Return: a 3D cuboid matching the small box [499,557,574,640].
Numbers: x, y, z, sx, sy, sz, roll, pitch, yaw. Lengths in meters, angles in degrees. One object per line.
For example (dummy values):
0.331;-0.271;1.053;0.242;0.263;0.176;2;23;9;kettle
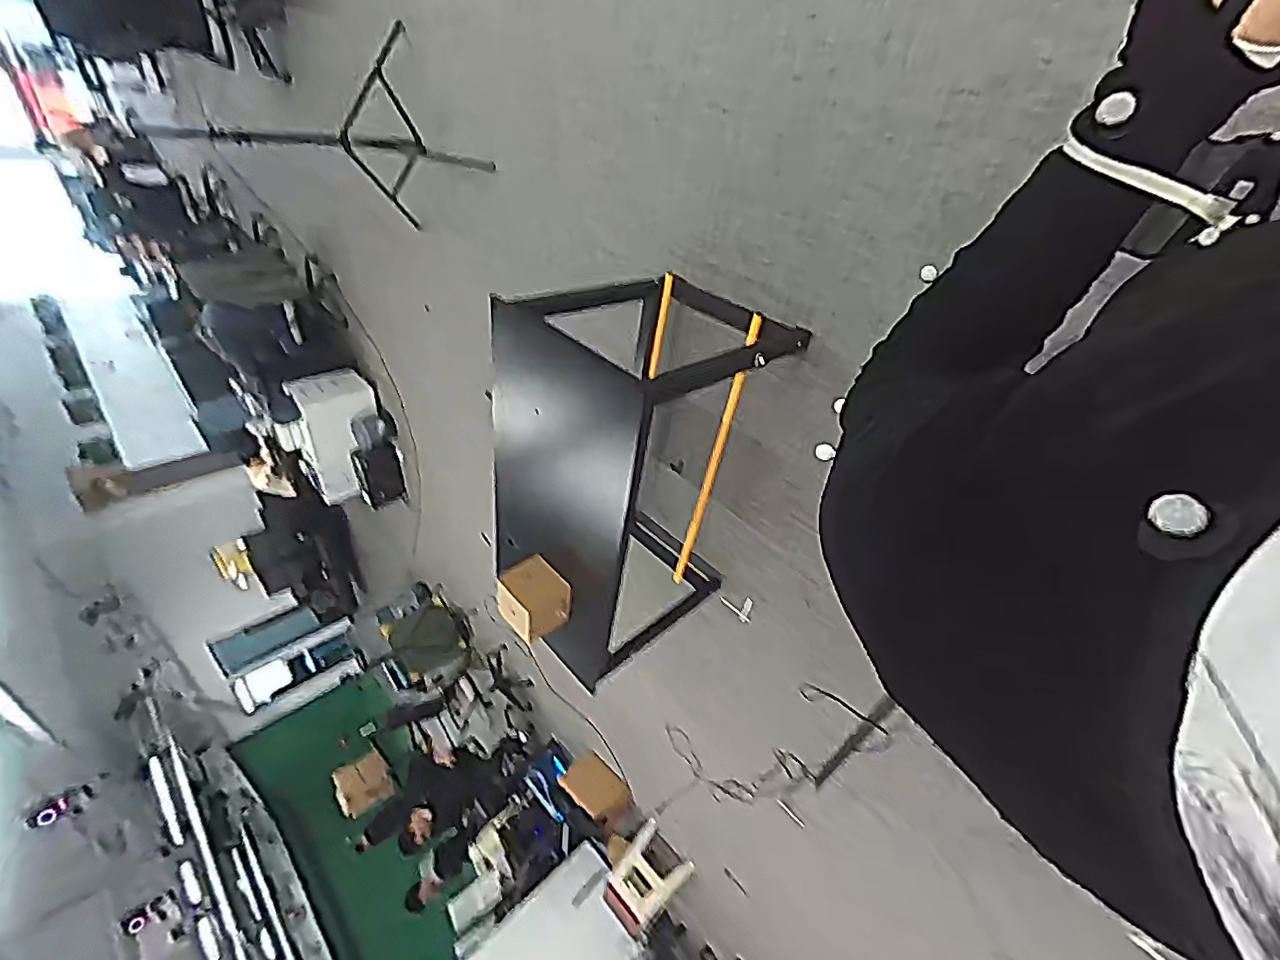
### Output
-0.337;0.374;1.755;0.179;0.176;0.168;36;135;31;small box
